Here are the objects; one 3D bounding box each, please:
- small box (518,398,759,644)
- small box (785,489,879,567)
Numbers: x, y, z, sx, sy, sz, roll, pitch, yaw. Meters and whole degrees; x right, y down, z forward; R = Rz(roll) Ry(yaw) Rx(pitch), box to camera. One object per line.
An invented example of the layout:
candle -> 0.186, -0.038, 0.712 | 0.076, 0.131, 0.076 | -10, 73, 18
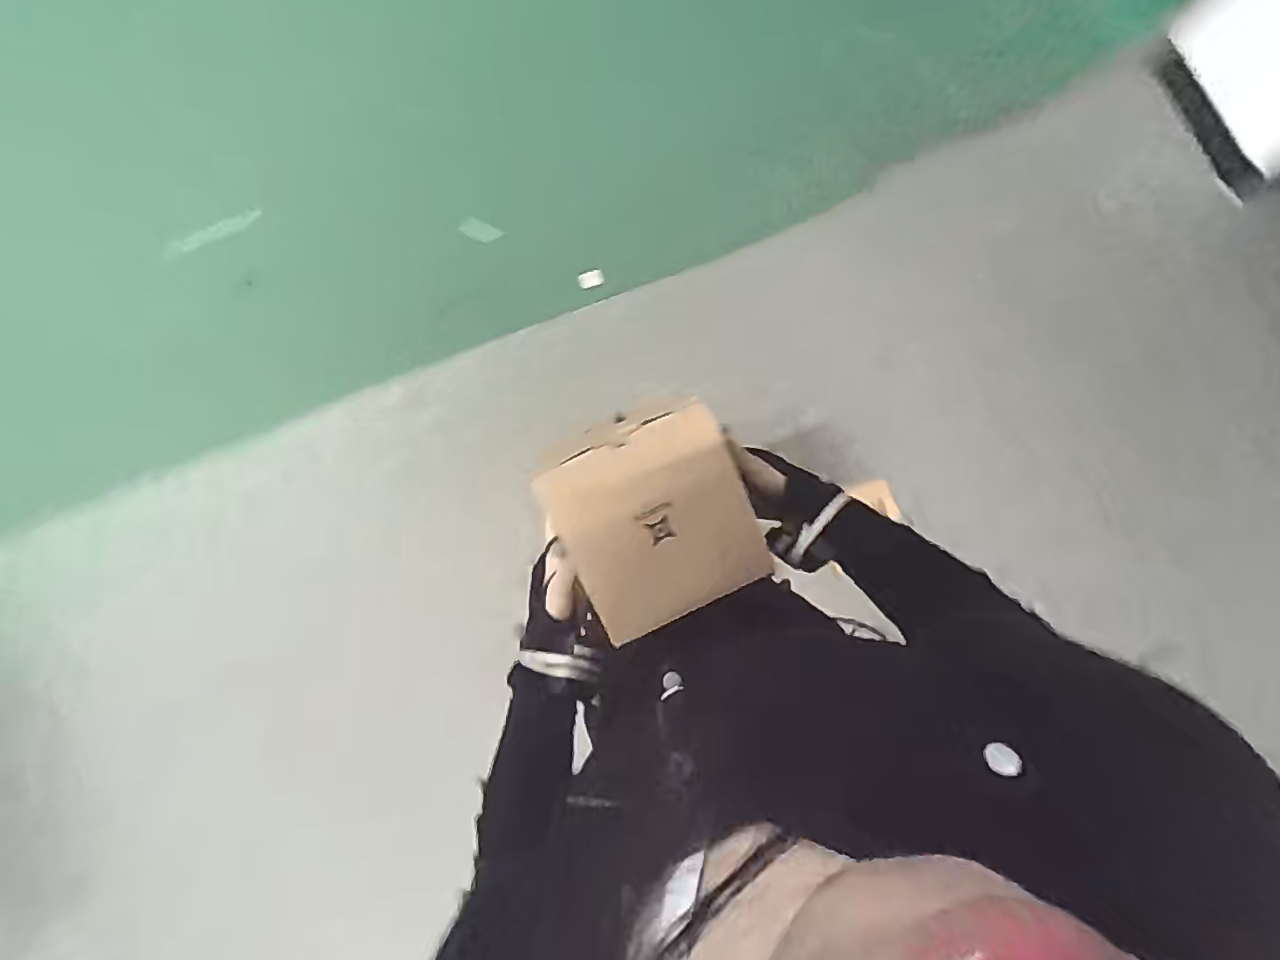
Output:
small box -> -0.005, 0.026, 0.553 | 0.168, 0.176, 0.179 | -26, 102, -2
small box -> 0.496, 0.129, 1.429 | 0.179, 0.176, 0.168 | -14, 84, 0
